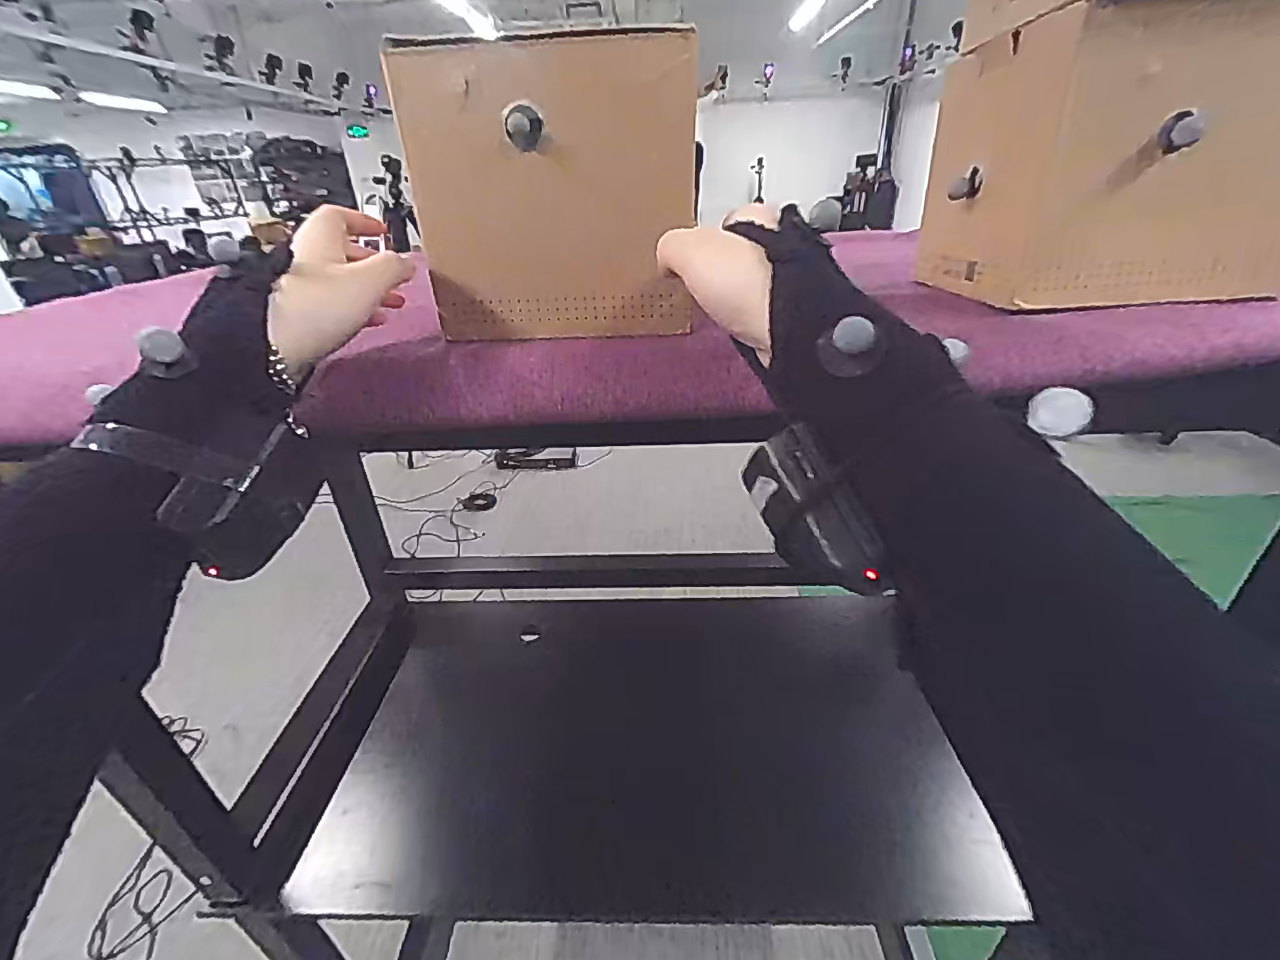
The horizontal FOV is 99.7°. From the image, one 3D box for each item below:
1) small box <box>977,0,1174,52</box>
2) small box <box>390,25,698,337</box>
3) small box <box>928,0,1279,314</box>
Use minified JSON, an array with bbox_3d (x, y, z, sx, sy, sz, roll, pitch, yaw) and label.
[{"bbox_3d":[0.323,-0.360,0.306,0.179,0.176,0.168,-2,27,3],"label":"small box"},{"bbox_3d":[-0.047,-0.208,0.403,0.179,0.176,0.168,0,30,3],"label":"small box"},{"bbox_3d":[0.332,-0.222,0.393,0.179,0.176,0.168,-2,28,4],"label":"small box"}]
